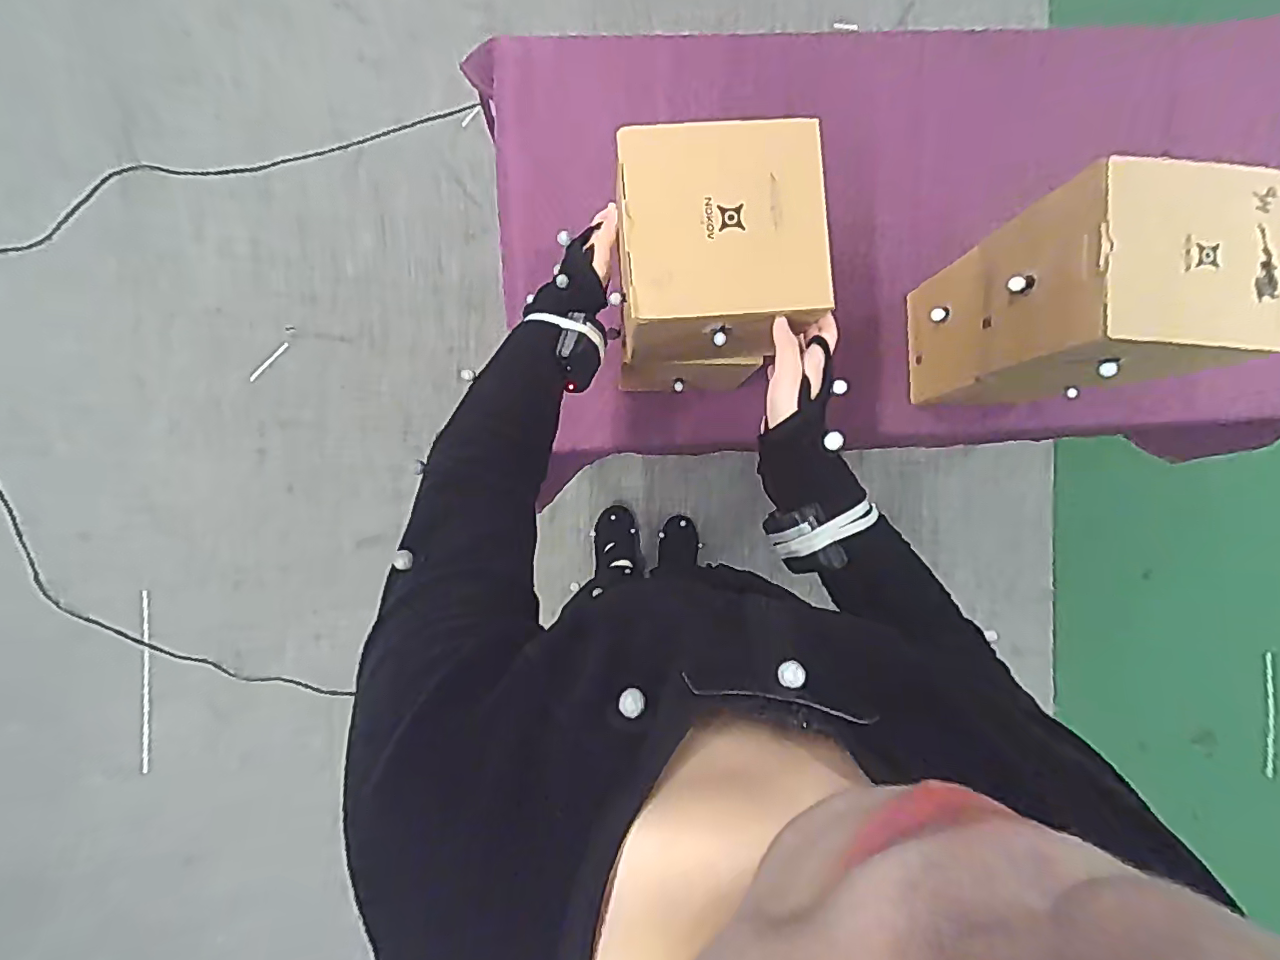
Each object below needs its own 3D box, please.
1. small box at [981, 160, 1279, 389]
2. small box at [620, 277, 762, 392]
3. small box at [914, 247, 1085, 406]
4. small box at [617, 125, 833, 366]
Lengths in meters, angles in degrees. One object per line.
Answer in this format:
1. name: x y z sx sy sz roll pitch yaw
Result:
1. small box: 0.485 -0.192 0.553 0.179 0.176 0.168 4 89 -2
2. small box: 0.059 -0.213 0.700 0.168 0.176 0.179 0 89 -3
3. small box: 0.485 -0.192 0.718 0.179 0.176 0.168 -1 89 -3
4. small box: 0.070 -0.215 0.537 0.179 0.176 0.168 -4 90 -3
